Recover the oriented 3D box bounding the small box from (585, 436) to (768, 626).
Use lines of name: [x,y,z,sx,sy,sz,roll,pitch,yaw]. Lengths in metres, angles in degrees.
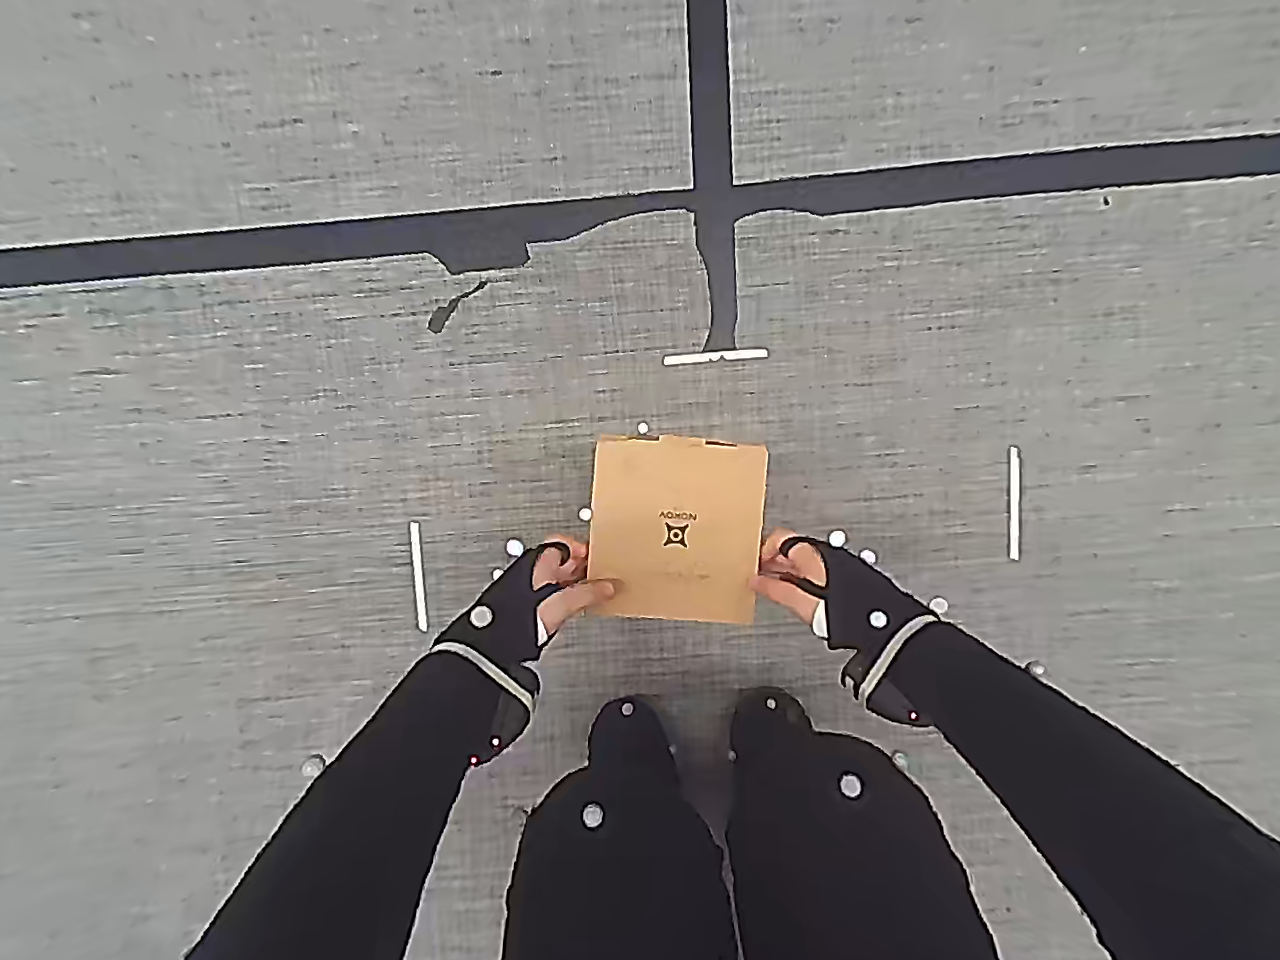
small box: [0.031,0.044,0.592,0.168,0.176,0.179,4,95,-2]
